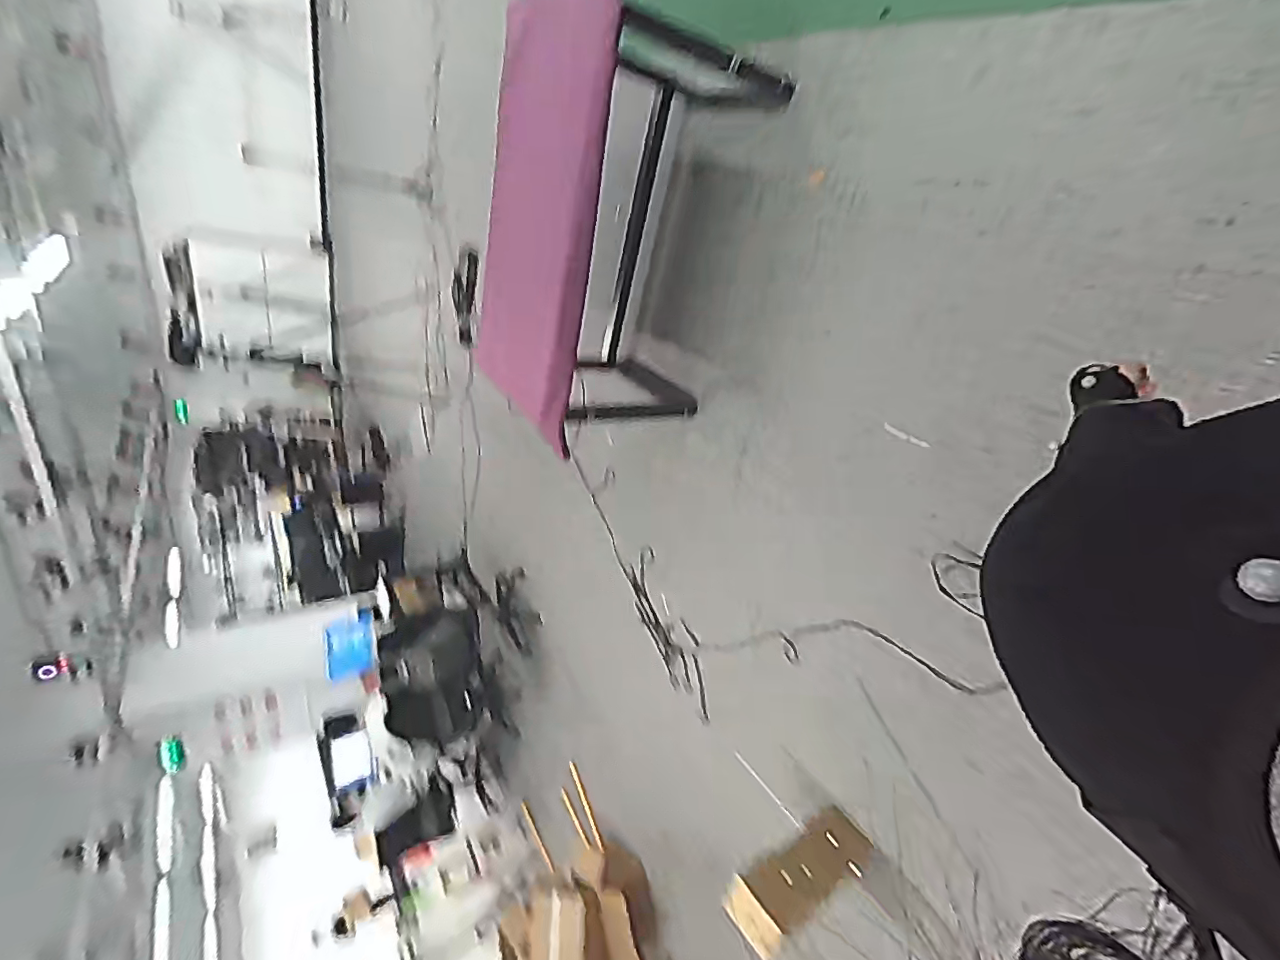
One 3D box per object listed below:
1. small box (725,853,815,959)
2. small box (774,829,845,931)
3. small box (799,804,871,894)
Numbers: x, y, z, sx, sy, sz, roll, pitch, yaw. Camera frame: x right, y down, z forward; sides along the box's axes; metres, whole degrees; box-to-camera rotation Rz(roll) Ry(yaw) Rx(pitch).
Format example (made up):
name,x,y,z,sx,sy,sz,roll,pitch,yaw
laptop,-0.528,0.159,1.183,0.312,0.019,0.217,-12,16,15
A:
name,x,y,z,sx,sy,sz,roll,pitch,yaw
small box,0.395,1.282,1.645,0.179,0.176,0.168,38,125,45
small box,0.526,1.282,1.744,0.179,0.176,0.168,40,125,43
small box,0.652,1.260,1.847,0.179,0.176,0.168,40,126,44
